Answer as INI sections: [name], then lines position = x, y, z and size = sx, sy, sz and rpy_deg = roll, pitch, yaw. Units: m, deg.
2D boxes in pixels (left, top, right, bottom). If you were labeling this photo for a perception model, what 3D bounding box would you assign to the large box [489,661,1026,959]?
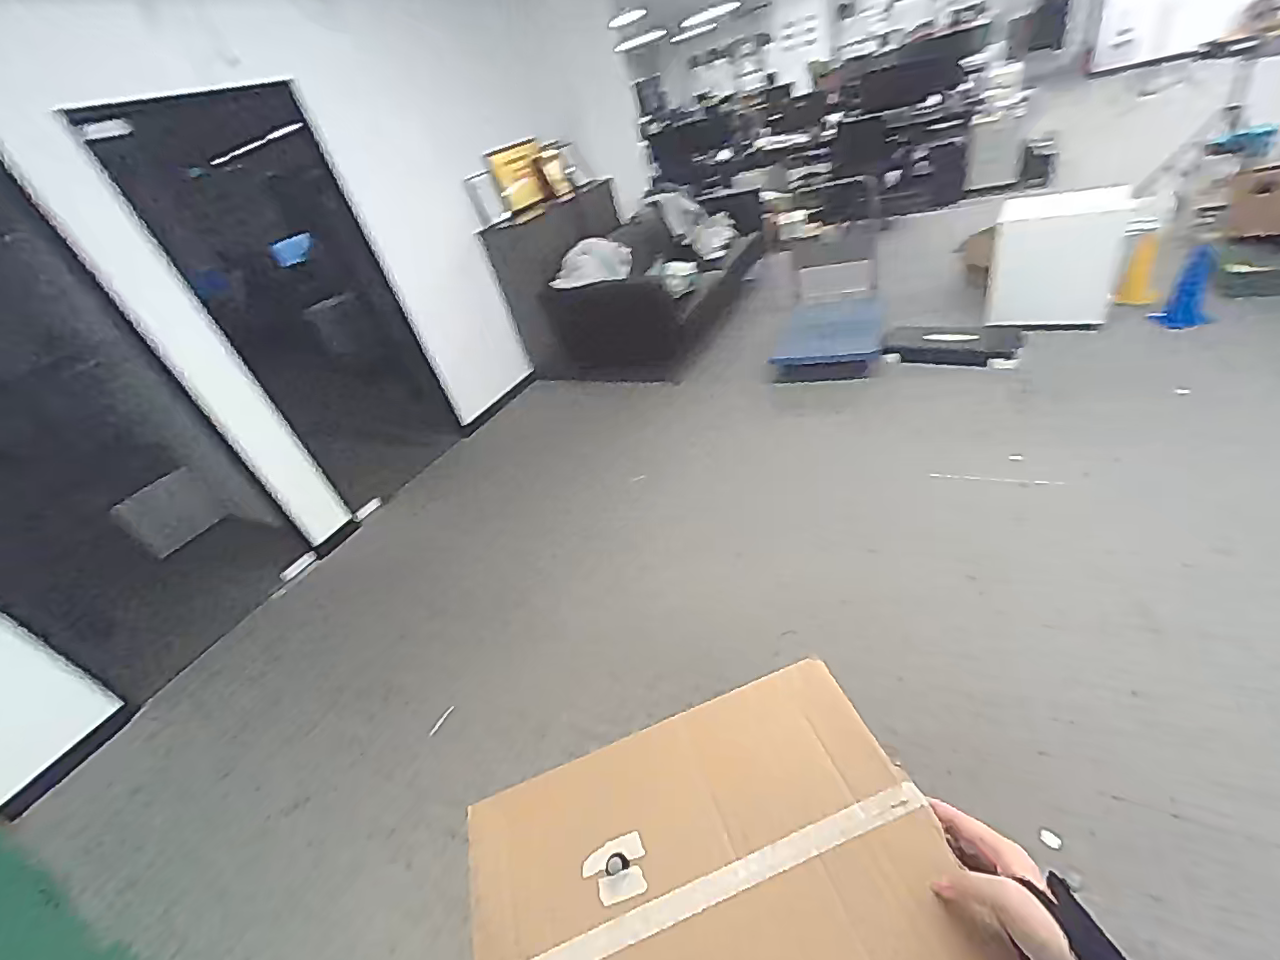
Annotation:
[large box]
position = 0.105, 0.468, 0.565
size = 0.408, 0.320, 0.320
rpy_deg = -22, 39, -3
